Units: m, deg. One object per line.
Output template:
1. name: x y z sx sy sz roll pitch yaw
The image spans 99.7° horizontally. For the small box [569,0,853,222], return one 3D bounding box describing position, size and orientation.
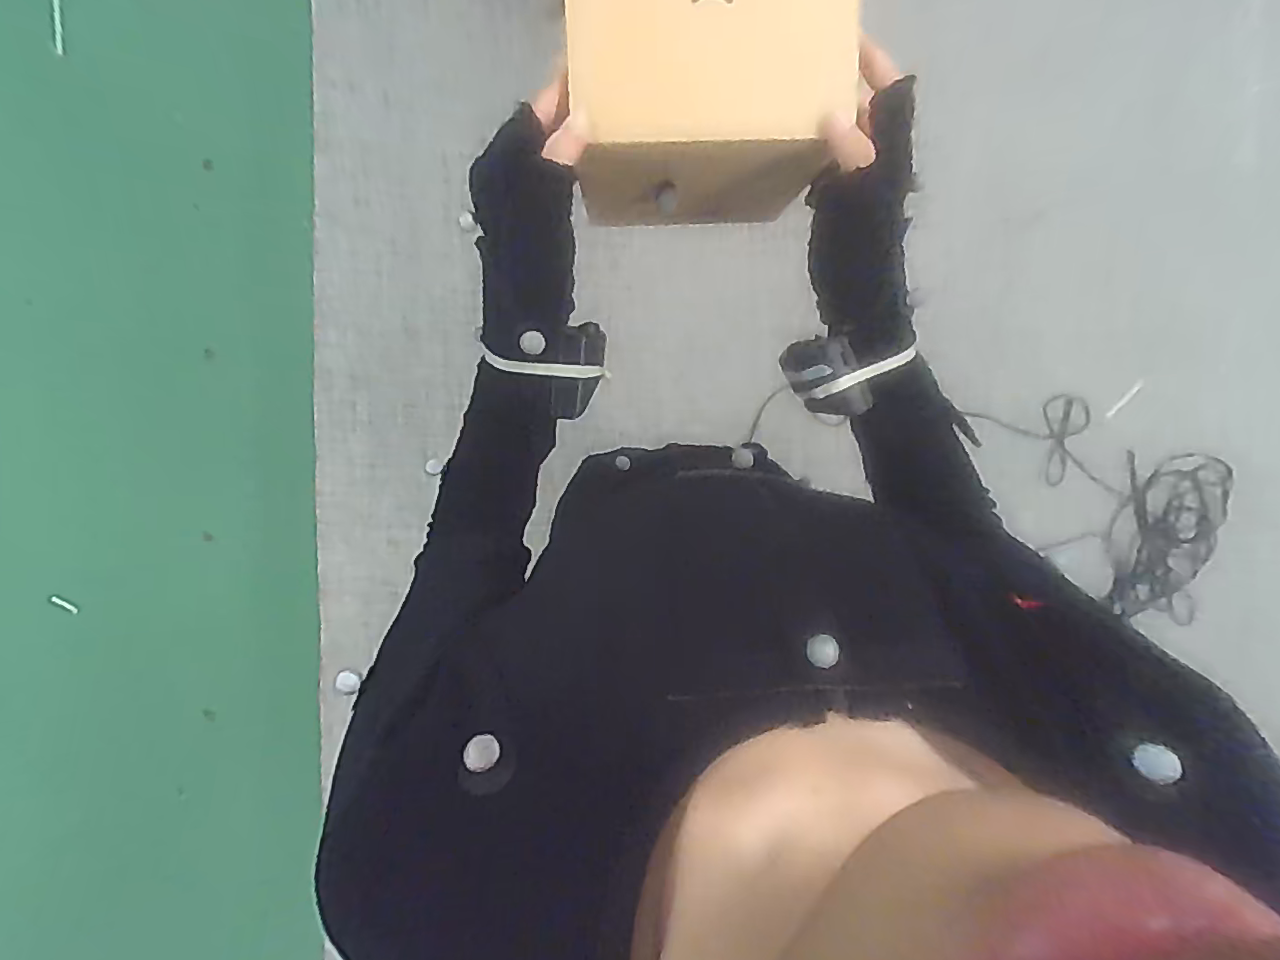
1. small box: 0.040 -0.296 0.387 0.168 0.176 0.179 -3 100 -1
